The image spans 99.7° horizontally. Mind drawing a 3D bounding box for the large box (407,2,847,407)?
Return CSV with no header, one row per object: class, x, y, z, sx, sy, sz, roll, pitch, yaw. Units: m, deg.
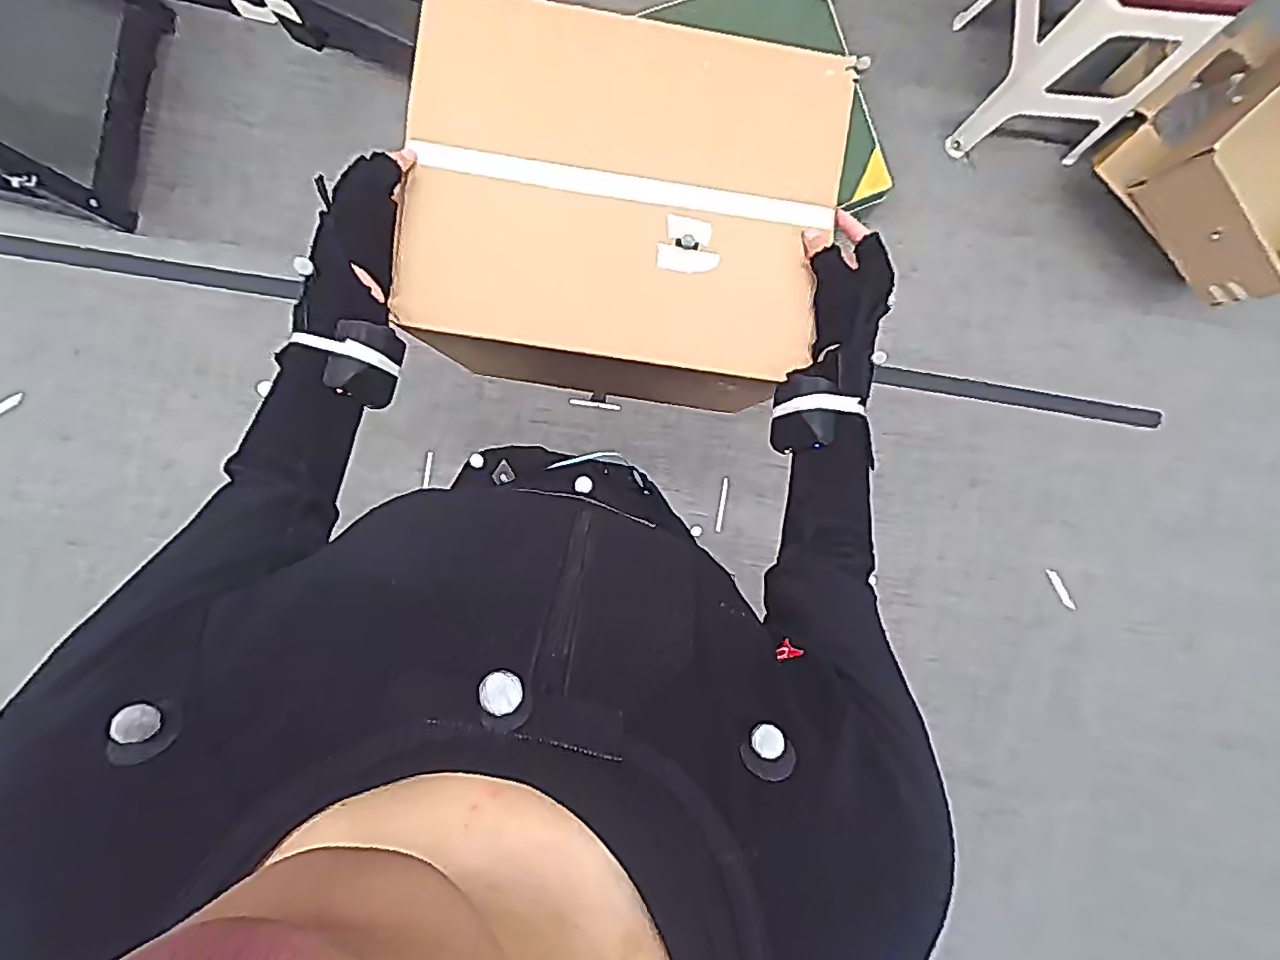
large box,-0.020,-0.282,0.673,0.408,0.320,0.320,8,93,-4
